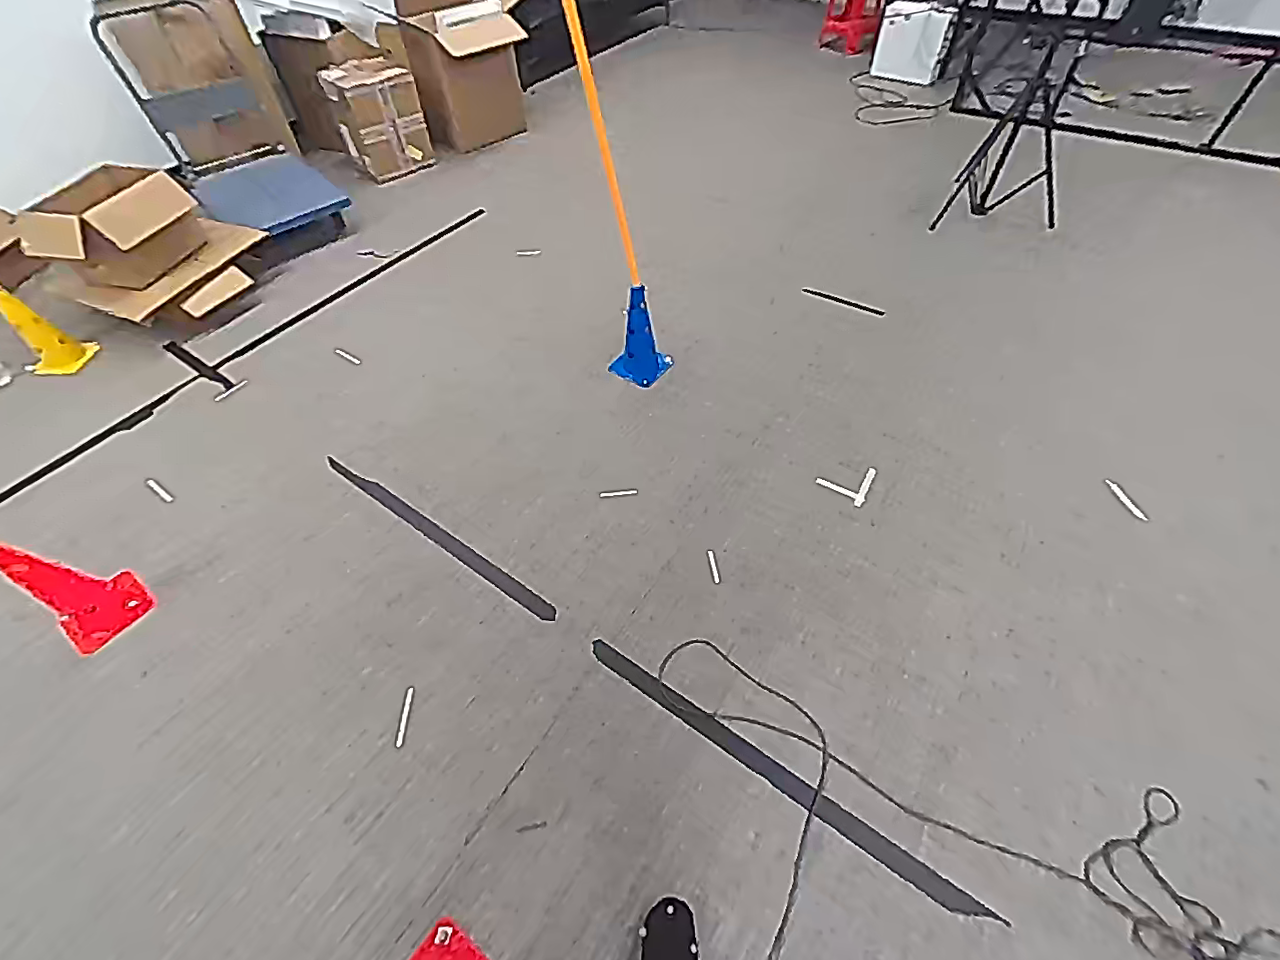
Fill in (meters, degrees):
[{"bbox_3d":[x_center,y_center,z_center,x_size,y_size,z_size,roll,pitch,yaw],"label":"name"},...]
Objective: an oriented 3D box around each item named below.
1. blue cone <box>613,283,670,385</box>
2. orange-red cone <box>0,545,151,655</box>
[{"bbox_3d":[0.000,-0.559,2.012,0.192,0.380,0.193,31,60,23],"label":"blue cone"},{"bbox_3d":[-1.536,0.270,1.408,0.199,0.360,0.198,30,59,24],"label":"orange-red cone"}]
